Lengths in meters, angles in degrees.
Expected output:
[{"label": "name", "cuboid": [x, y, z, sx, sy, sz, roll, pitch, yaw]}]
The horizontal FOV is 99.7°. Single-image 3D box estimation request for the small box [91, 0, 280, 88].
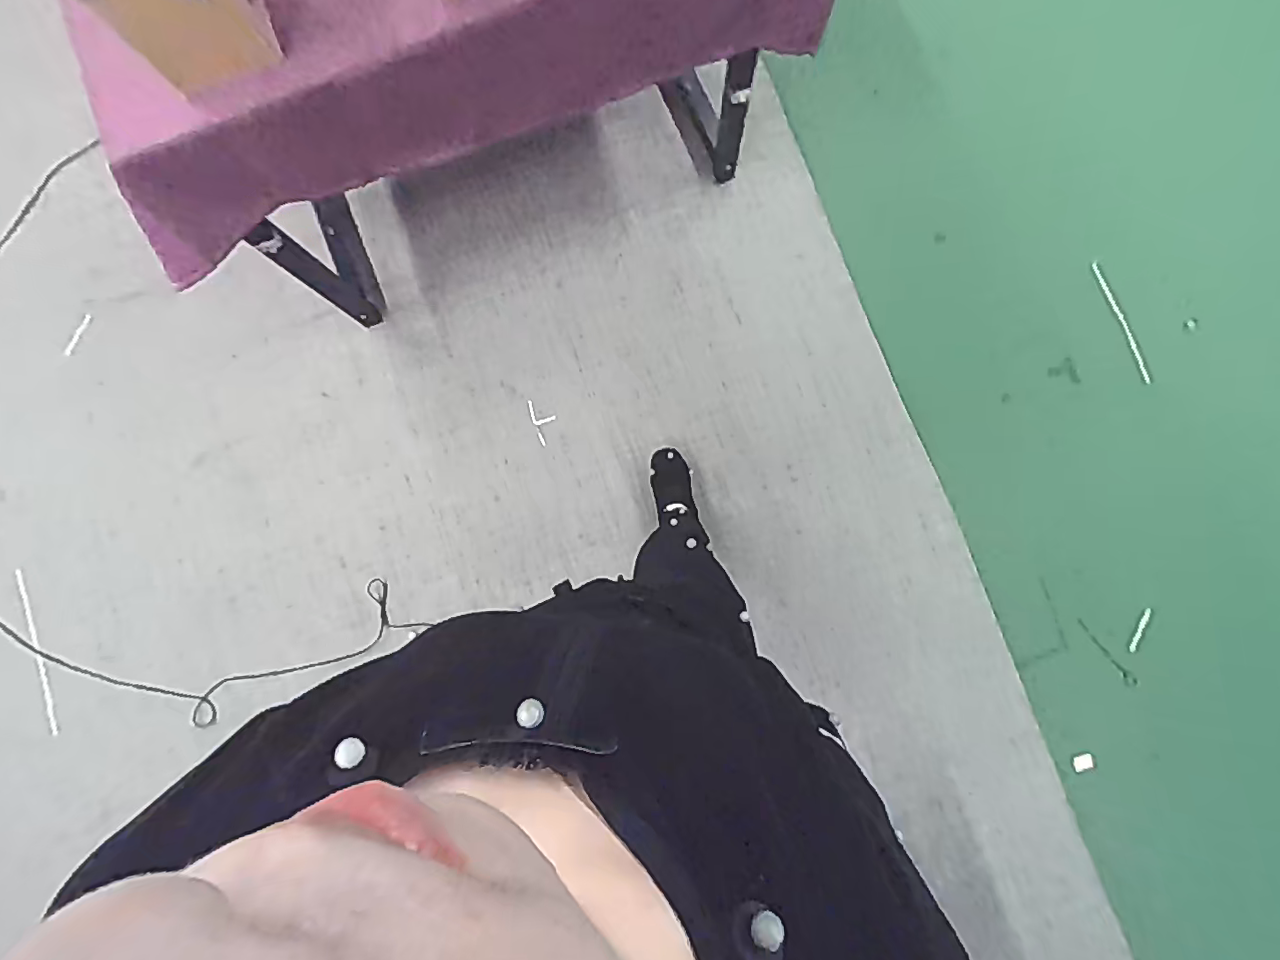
[{"label": "small box", "cuboid": [-0.682, -0.729, 0.793, 0.179, 0.176, 0.168, -22, 83, -2]}]
